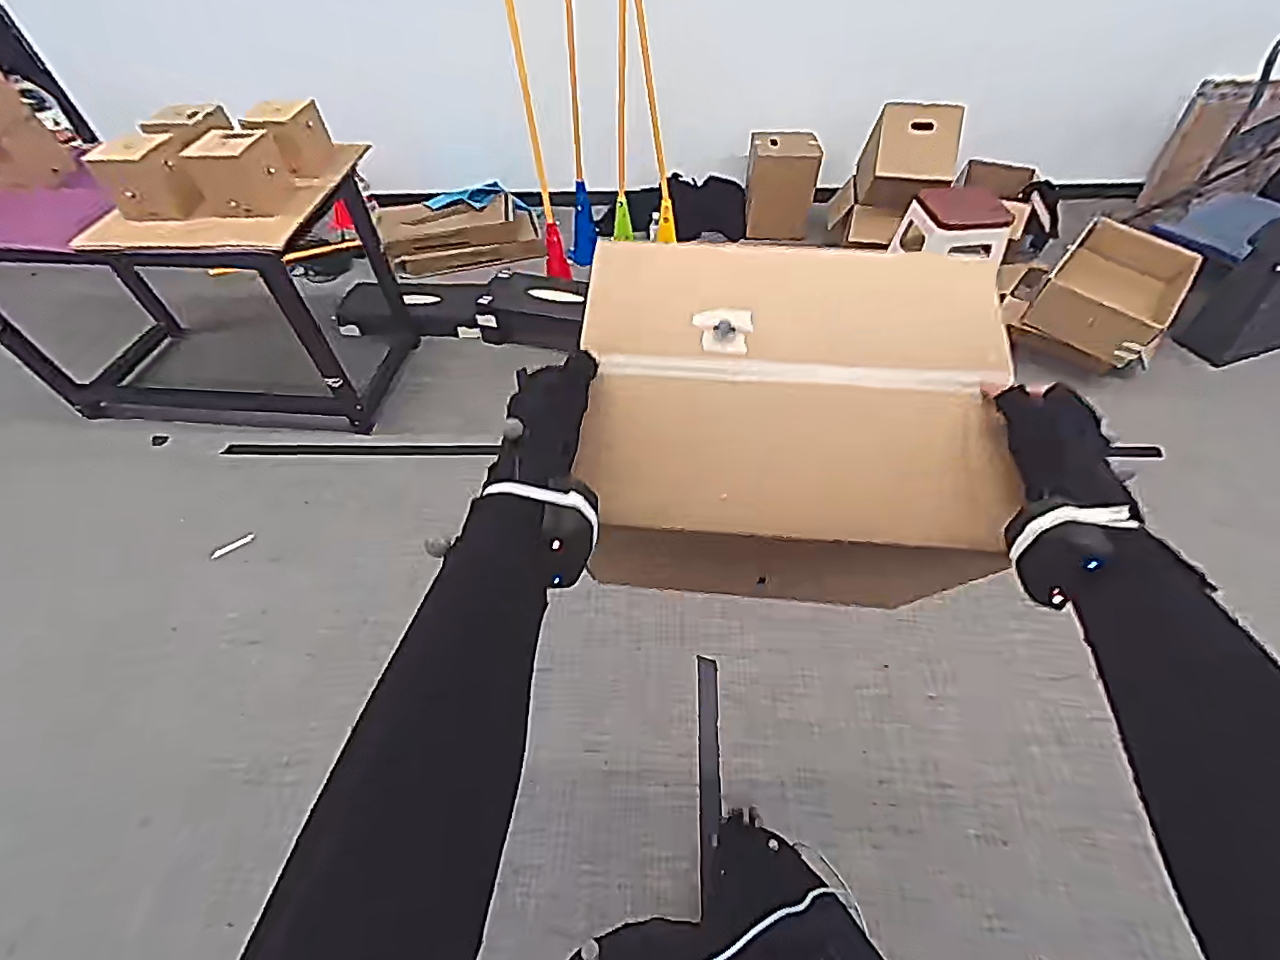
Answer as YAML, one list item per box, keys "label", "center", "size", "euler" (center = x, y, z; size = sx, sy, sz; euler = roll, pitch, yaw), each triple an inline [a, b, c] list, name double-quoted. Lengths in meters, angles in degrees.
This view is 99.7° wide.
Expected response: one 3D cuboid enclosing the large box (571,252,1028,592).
- label: "large box"
  center: [0.155, -0.046, 0.663]
  size: [0.408, 0.320, 0.320]
  euler: [4, 69, 5]
